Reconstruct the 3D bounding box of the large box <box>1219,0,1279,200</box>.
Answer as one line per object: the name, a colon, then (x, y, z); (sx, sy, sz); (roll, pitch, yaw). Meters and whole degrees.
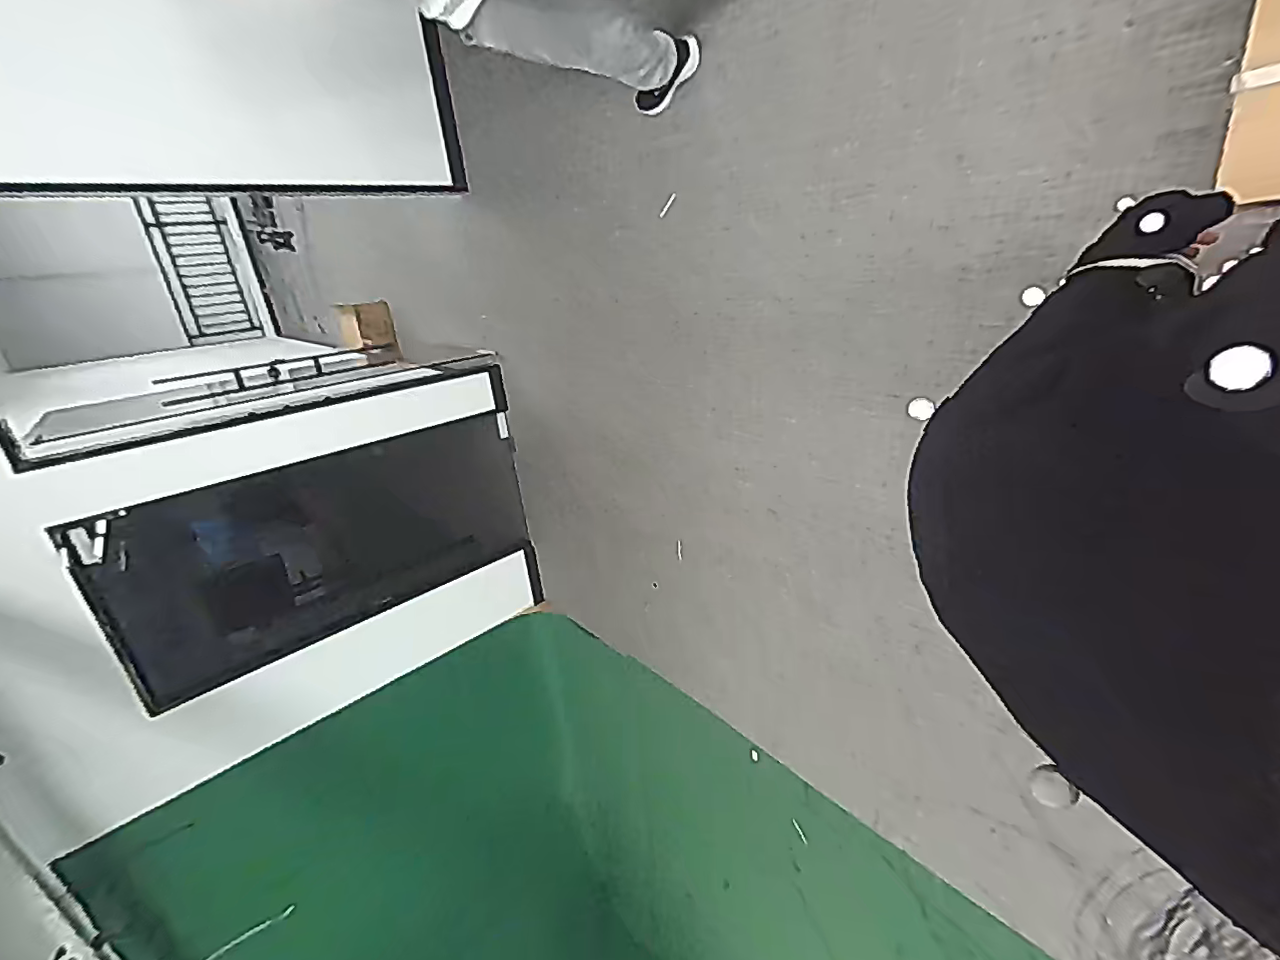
large box: (1.056, -0.559, 0.675); (0.408, 0.320, 0.320); (16, 121, 47)
